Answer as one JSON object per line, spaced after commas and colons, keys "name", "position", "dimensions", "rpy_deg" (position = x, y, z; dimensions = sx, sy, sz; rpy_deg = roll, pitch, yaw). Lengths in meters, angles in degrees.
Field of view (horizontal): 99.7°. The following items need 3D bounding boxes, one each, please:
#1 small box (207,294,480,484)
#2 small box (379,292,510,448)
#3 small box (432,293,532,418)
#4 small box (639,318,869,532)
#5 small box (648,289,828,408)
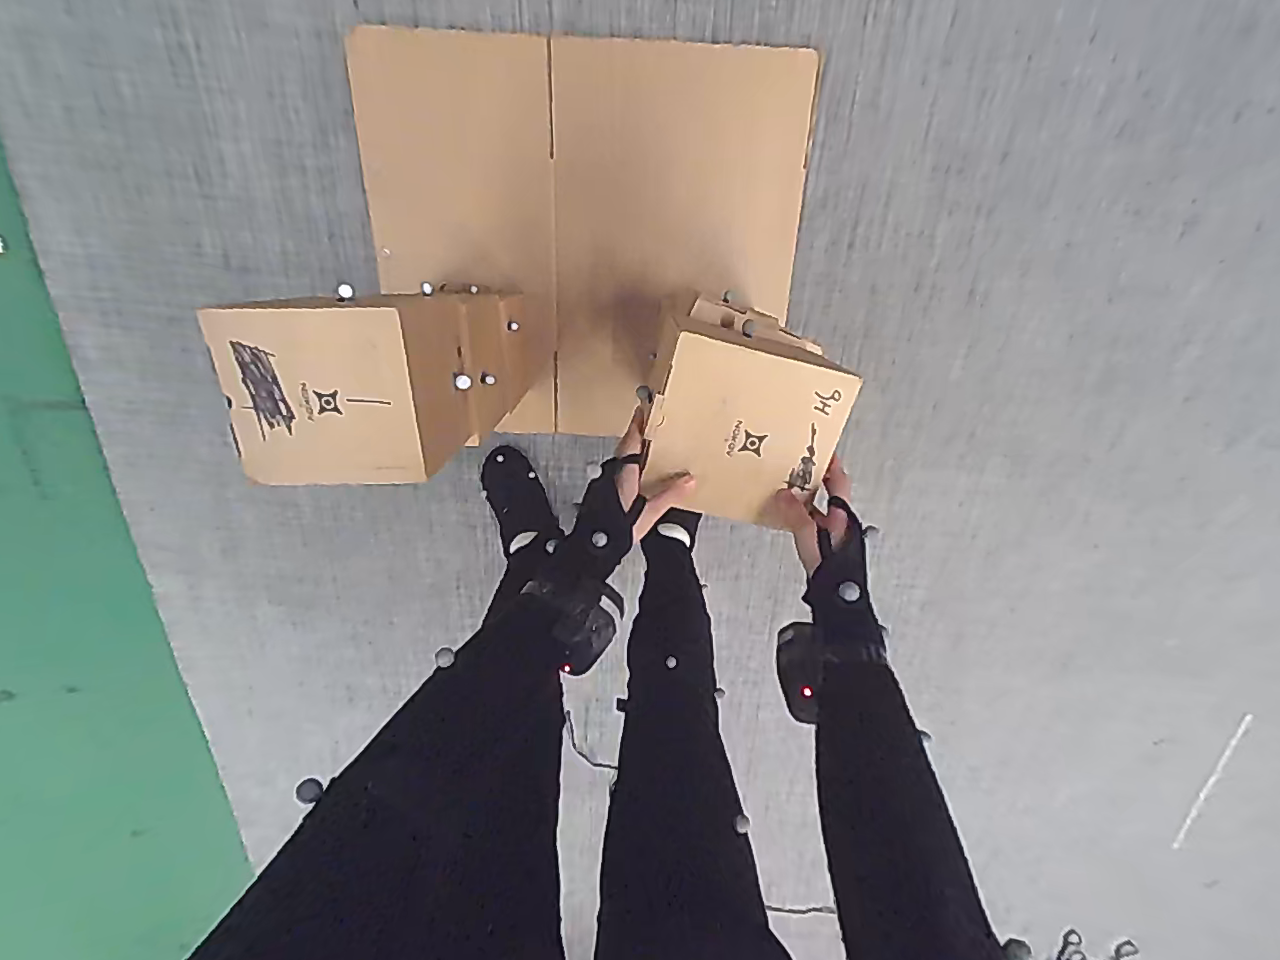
{"name": "small box", "position": [-0.283, -0.102, 0.562], "dimensions": [0.179, 0.176, 0.168], "rpy_deg": [-1, 112, 0]}
{"name": "small box", "position": [-0.275, -0.152, 0.720], "dimensions": [0.168, 0.176, 0.179], "rpy_deg": [0, 111, -1]}
{"name": "small box", "position": [-0.274, -0.206, 0.875], "dimensions": [0.168, 0.176, 0.179], "rpy_deg": [0, 111, 0]}
{"name": "small box", "position": [0.102, -0.070, 0.577], "dimensions": [0.179, 0.176, 0.168], "rpy_deg": [13, 111, -5]}
{"name": "small box", "position": [0.113, -0.142, 0.724], "dimensions": [0.168, 0.176, 0.179], "rpy_deg": [21, 111, -9]}
